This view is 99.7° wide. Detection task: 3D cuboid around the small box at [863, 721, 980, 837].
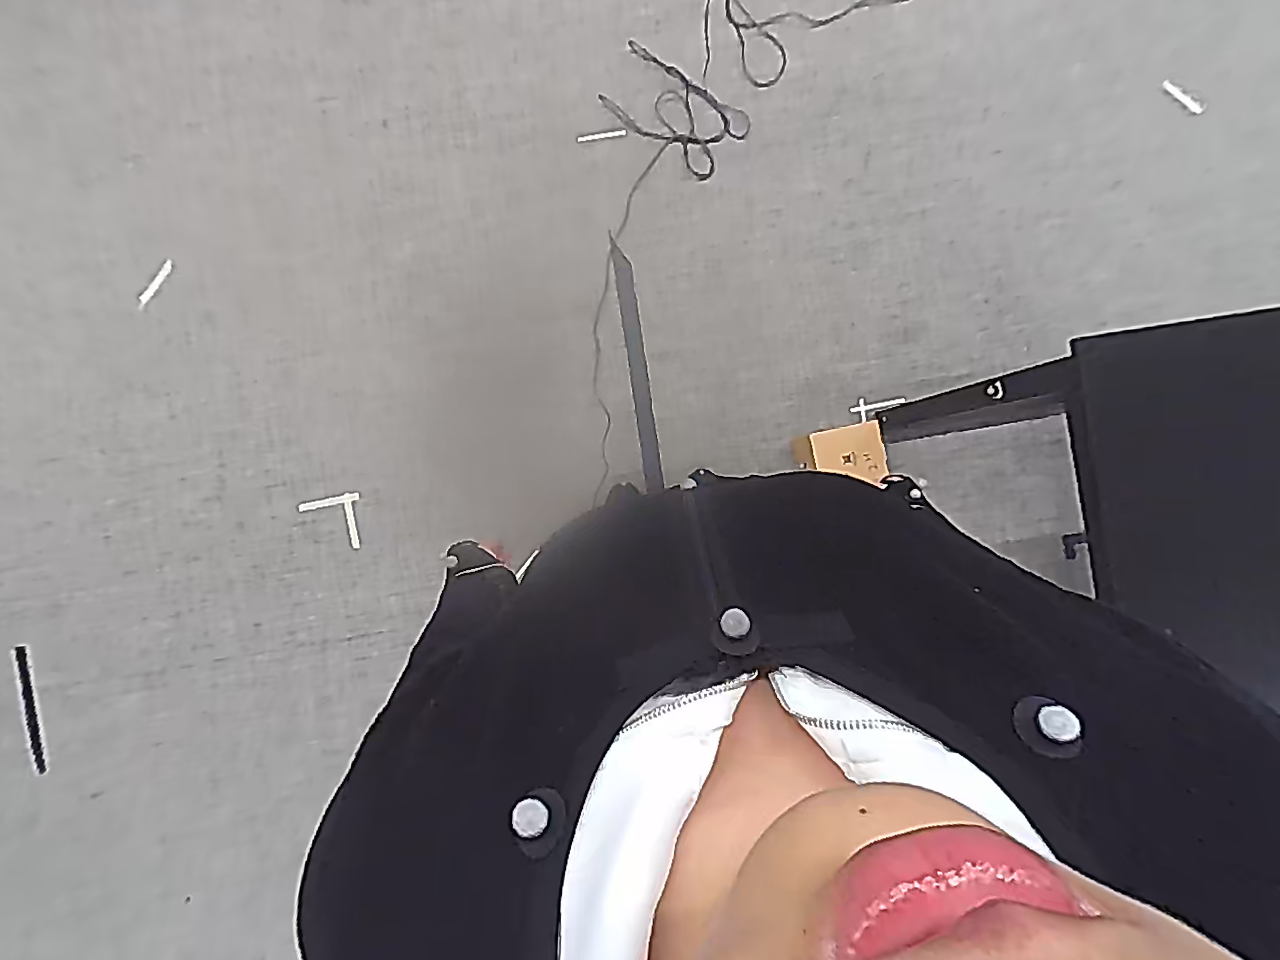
[{"bbox_3d":[0.729,0.771,1.418,0.179,0.176,0.168,34,90,1],"label":"small box"}]
